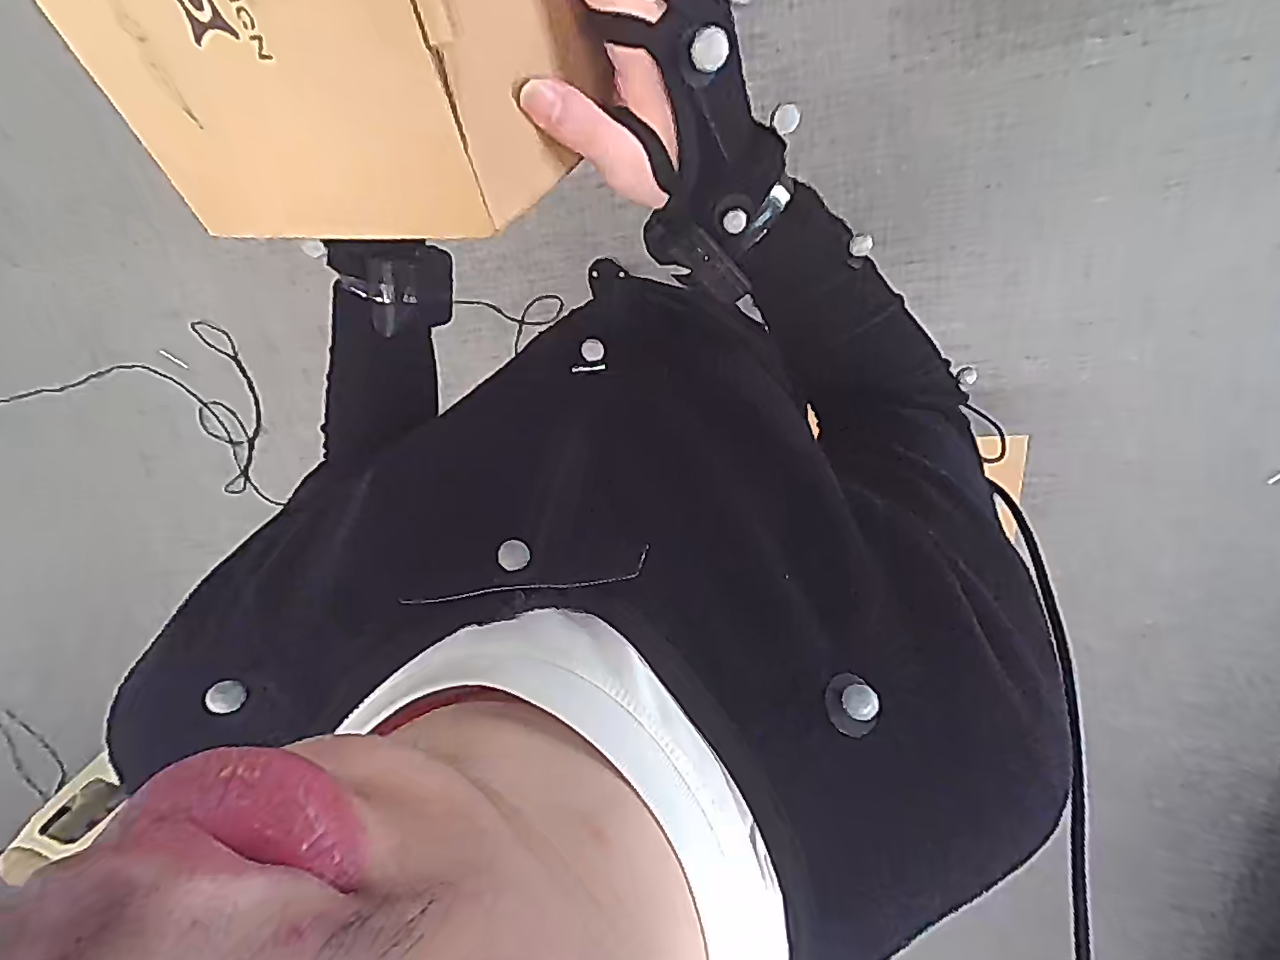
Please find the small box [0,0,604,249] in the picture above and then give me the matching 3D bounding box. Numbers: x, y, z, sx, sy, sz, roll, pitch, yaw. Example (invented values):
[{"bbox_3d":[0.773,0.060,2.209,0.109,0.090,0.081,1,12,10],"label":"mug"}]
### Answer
[{"bbox_3d":[-0.127,-0.215,0.220,0.179,0.176,0.168,10,142,21],"label":"small box"}]
